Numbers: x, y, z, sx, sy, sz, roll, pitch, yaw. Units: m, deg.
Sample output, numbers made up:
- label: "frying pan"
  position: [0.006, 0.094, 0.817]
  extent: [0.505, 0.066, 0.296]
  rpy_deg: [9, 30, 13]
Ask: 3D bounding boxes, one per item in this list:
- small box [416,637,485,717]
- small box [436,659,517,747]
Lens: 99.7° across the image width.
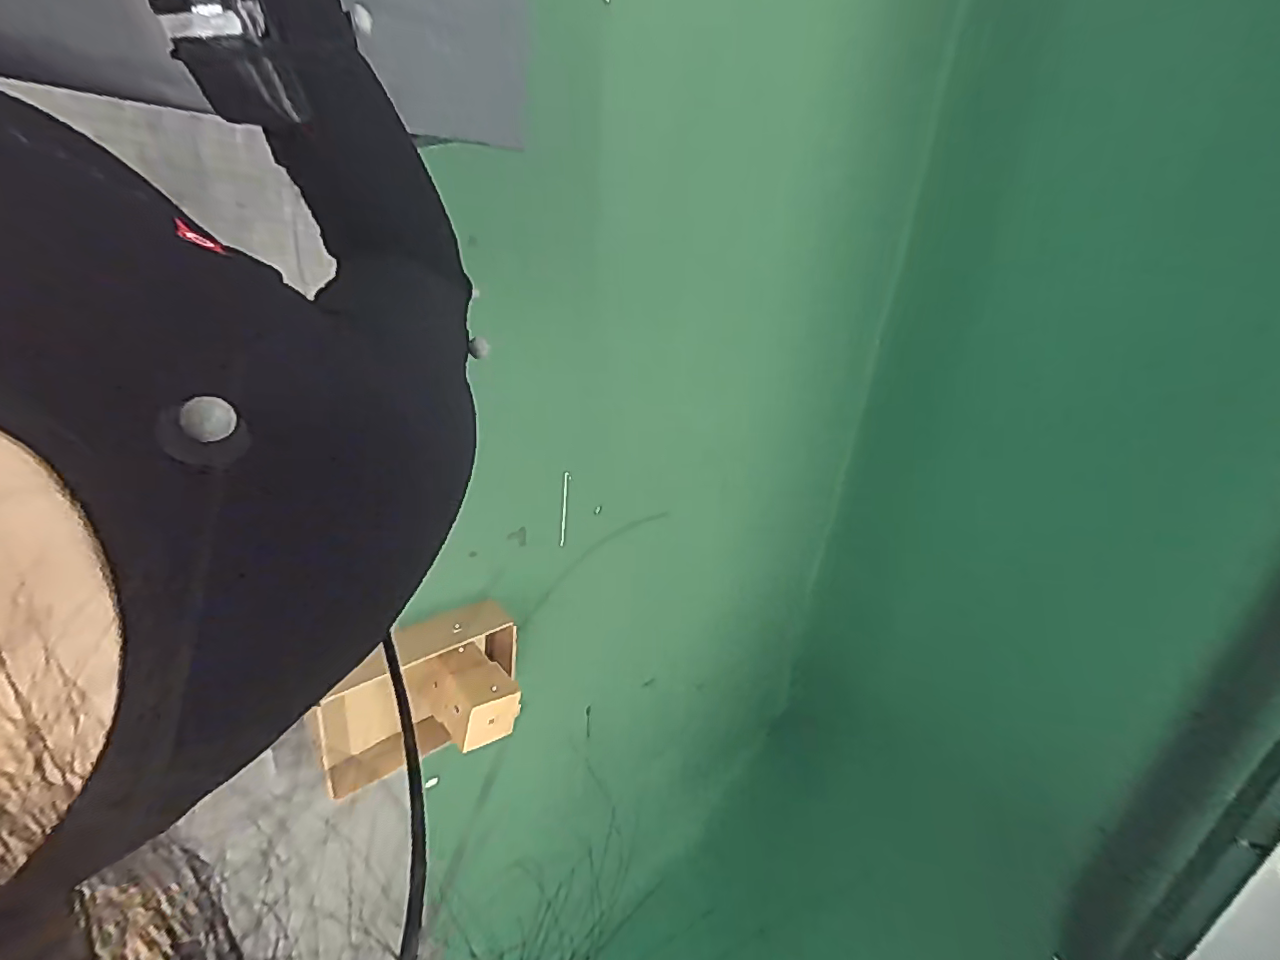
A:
- label: "small box"
  position: [-0.634, 0.661, 1.828]
  extent: [0.168, 0.176, 0.179]
  rpy_deg: [6, 106, -48]
- label: "small box"
  position: [-0.523, 0.699, 1.715]
  extent: [0.179, 0.176, 0.168]
  rpy_deg: [-2, 112, -47]
